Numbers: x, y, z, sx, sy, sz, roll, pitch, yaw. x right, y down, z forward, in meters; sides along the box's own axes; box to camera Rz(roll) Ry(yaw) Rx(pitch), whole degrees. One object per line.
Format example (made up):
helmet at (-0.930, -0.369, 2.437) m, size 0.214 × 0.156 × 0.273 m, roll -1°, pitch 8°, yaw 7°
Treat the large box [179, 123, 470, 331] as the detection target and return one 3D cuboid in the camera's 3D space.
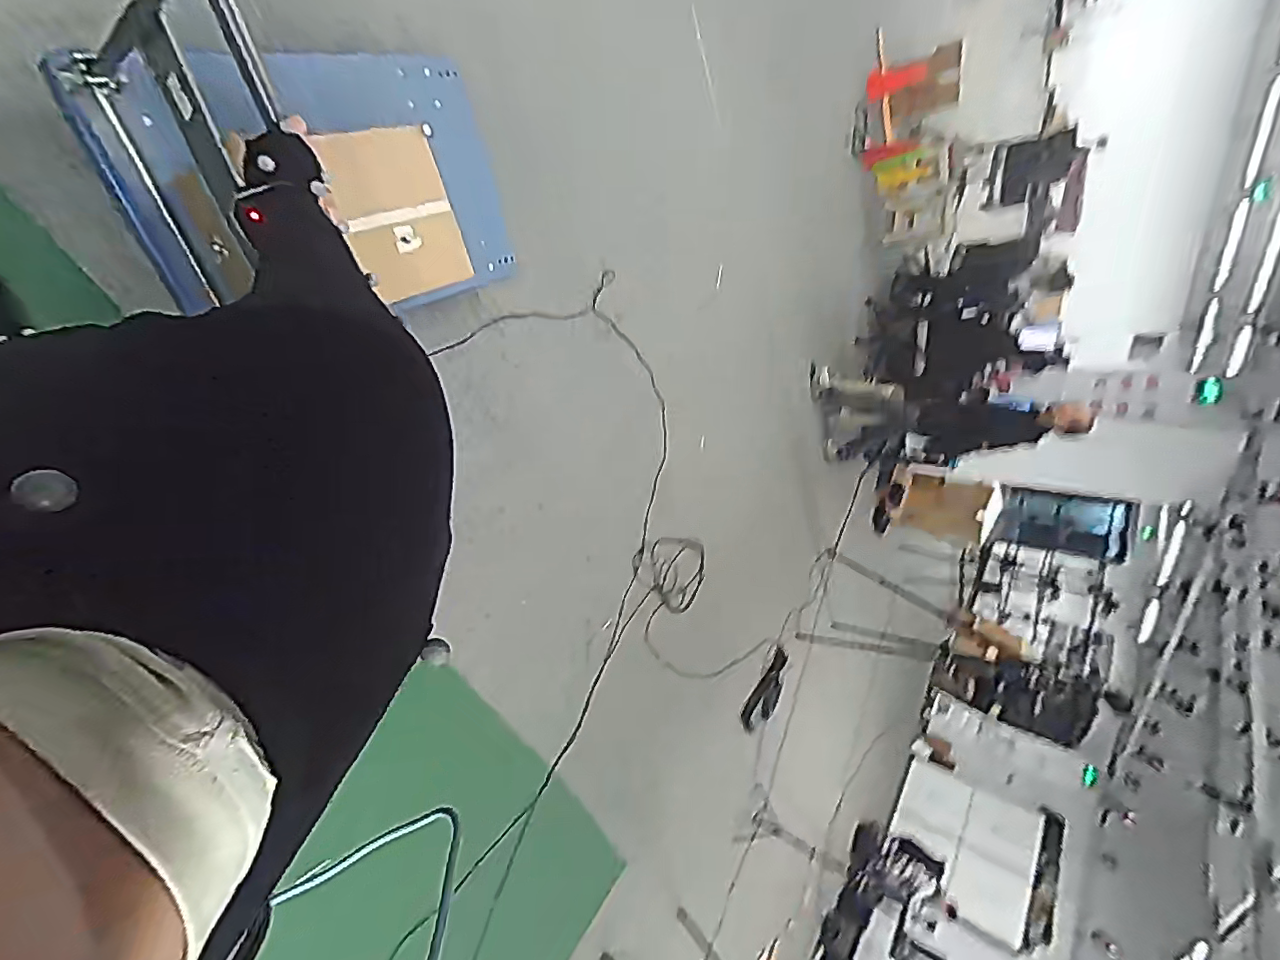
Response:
large box at (-0.671, -0.547, 1.189) m, size 0.408 × 0.320 × 0.320 m, roll -40°, pitch 127°, yaw -39°
